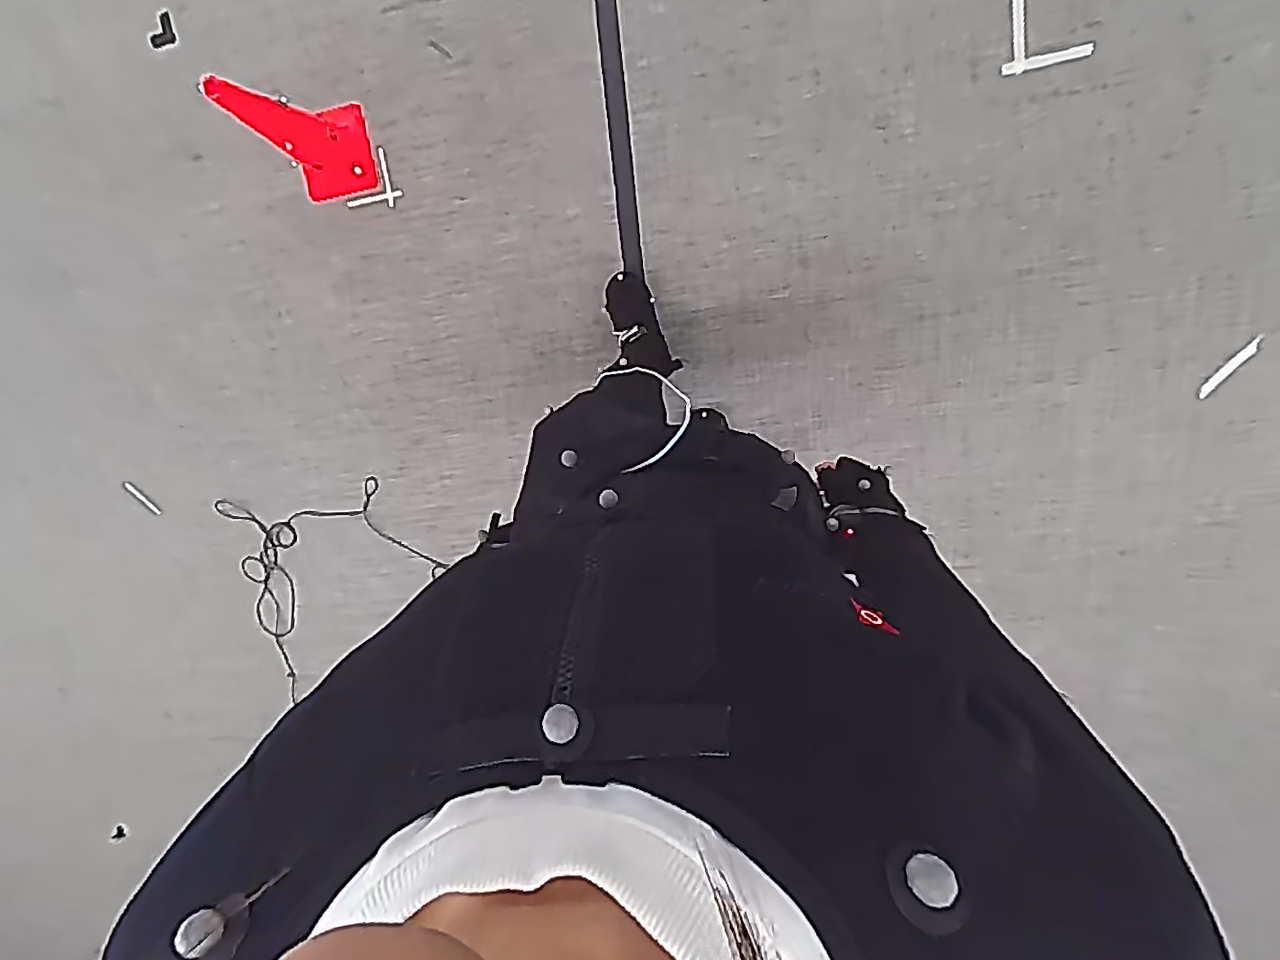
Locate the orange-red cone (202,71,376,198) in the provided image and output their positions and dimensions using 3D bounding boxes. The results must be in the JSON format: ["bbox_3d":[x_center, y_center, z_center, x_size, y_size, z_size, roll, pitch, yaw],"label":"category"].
[{"bbox_3d":[-0.787,-0.788,1.188,0.198,0.360,0.199,-6,100,8],"label":"orange-red cone"}]
